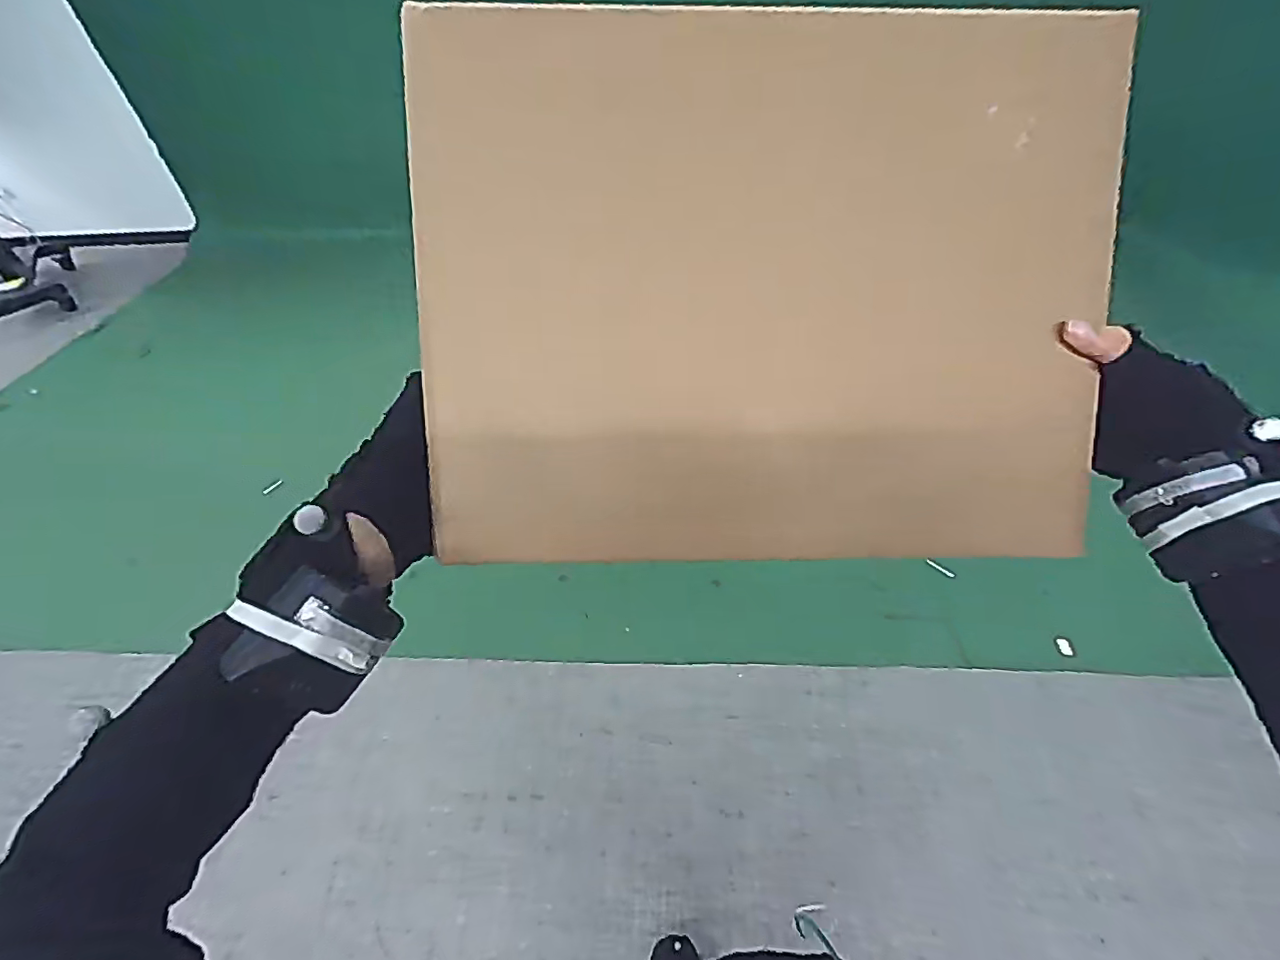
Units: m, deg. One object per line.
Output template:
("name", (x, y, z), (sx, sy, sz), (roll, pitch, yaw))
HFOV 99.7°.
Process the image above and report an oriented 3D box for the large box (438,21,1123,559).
("large box", (0.076, -0.119, 0.469), (0.408, 0.320, 0.320), (0, 9, -1))
